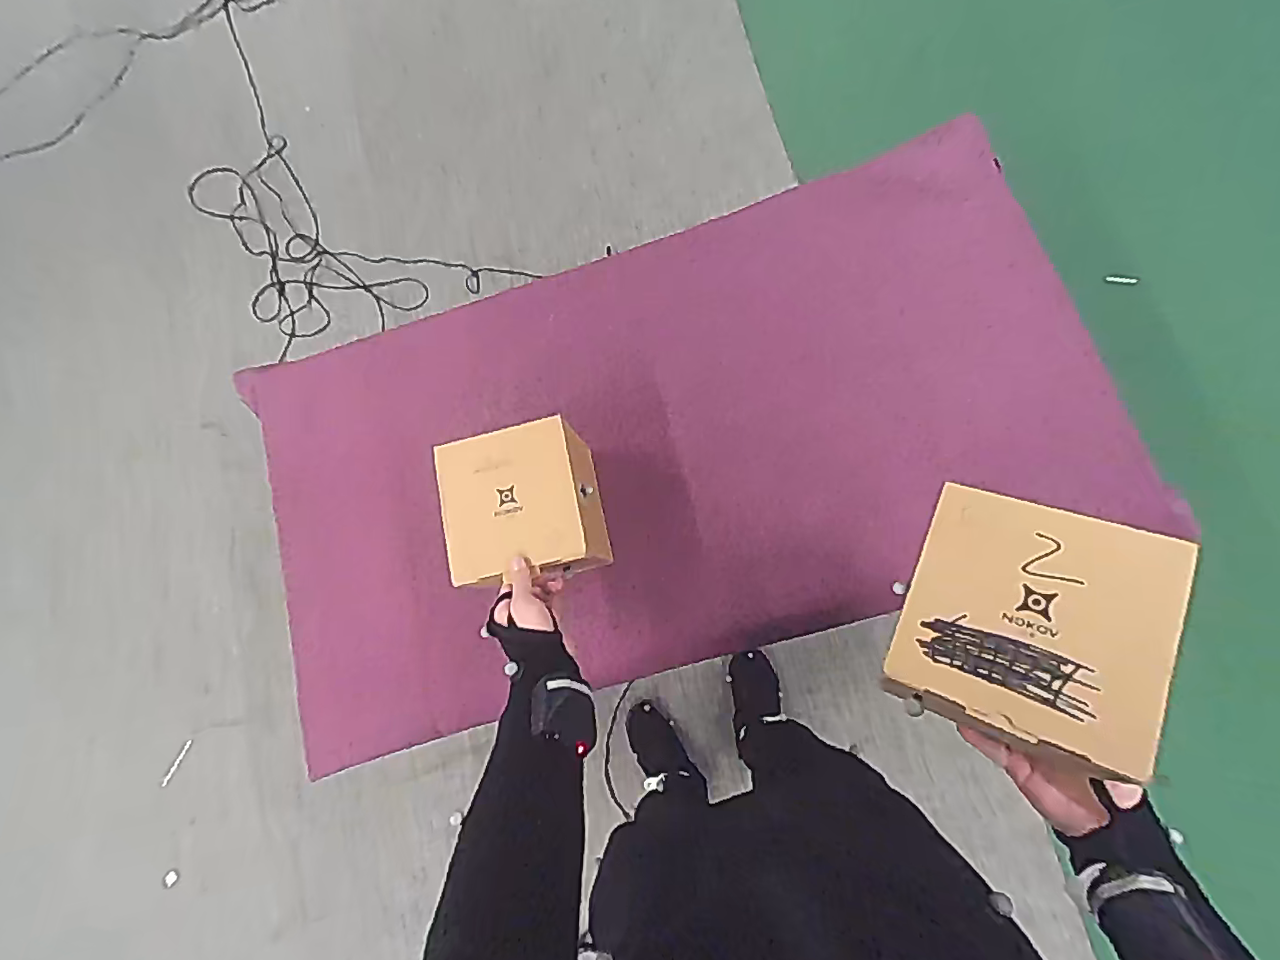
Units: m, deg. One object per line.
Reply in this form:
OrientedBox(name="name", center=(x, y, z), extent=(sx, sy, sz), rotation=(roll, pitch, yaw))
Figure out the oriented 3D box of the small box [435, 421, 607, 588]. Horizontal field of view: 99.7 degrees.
OrientedBox(name="small box", center=(-0.148, 0.043, 0.718), extent=(0.168, 0.176, 0.179), rotation=(-13, 76, 4))
